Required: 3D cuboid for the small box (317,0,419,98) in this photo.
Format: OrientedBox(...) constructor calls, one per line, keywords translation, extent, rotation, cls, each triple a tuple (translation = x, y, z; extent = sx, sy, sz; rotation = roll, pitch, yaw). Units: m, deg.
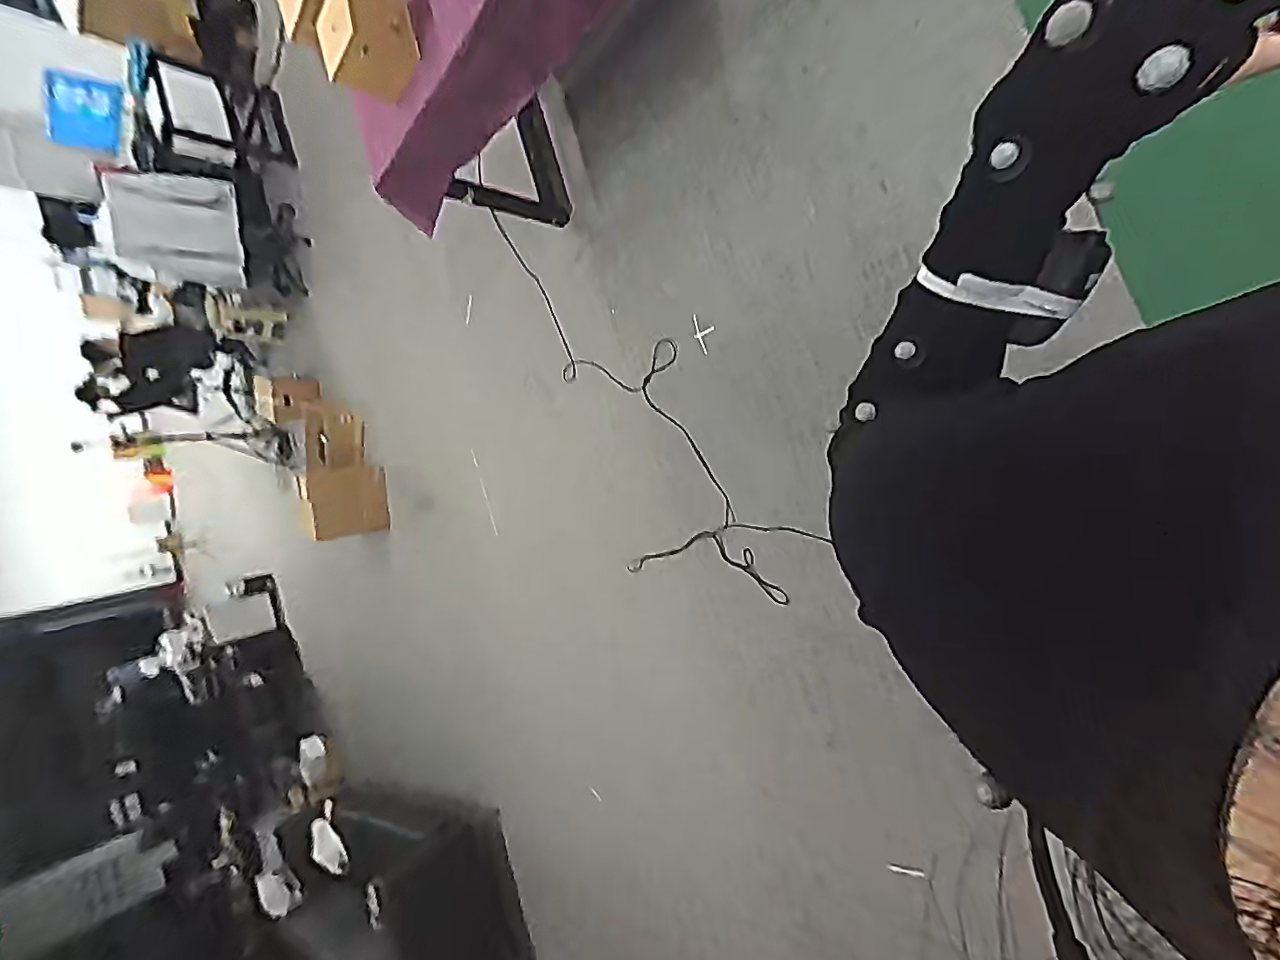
OrientedBox(translation=(-0.690, -1.129, 1.377), extent=(0.179, 0.176, 0.168), rotation=(-18, 86, 41), cls="small box")
